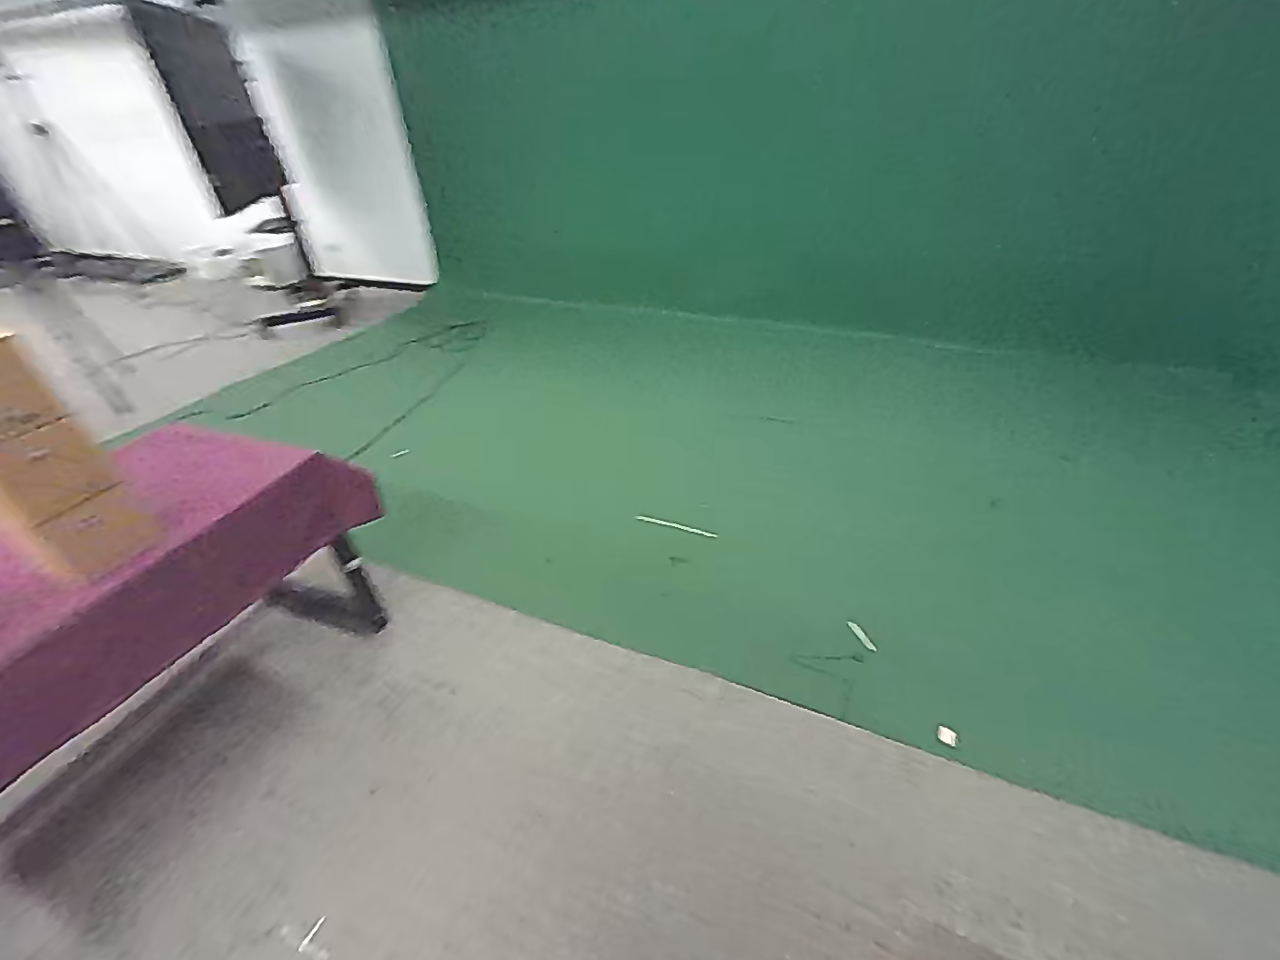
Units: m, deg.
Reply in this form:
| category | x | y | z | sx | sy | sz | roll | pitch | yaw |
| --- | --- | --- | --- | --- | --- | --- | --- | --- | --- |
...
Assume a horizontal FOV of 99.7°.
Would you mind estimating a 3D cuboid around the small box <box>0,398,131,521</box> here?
| category | x | y | z | sx | sy | sz | roll | pitch | yaw |
| --- | --- | --- | --- | --- | --- | --- | --- | --- | --- |
| small box | -1.207 | -0.044 | 1.106 | 0.168 | 0.176 | 0.179 | 12 | 39 | 19 |

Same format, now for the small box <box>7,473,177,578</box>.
| category | x | y | z | sx | sy | sz | roll | pitch | yaw |
| --- | --- | --- | --- | --- | --- | --- | --- | --- | --- |
| small box | -1.200 | 0.090 | 1.199 | 0.168 | 0.176 | 0.179 | 12 | 38 | 20 |
